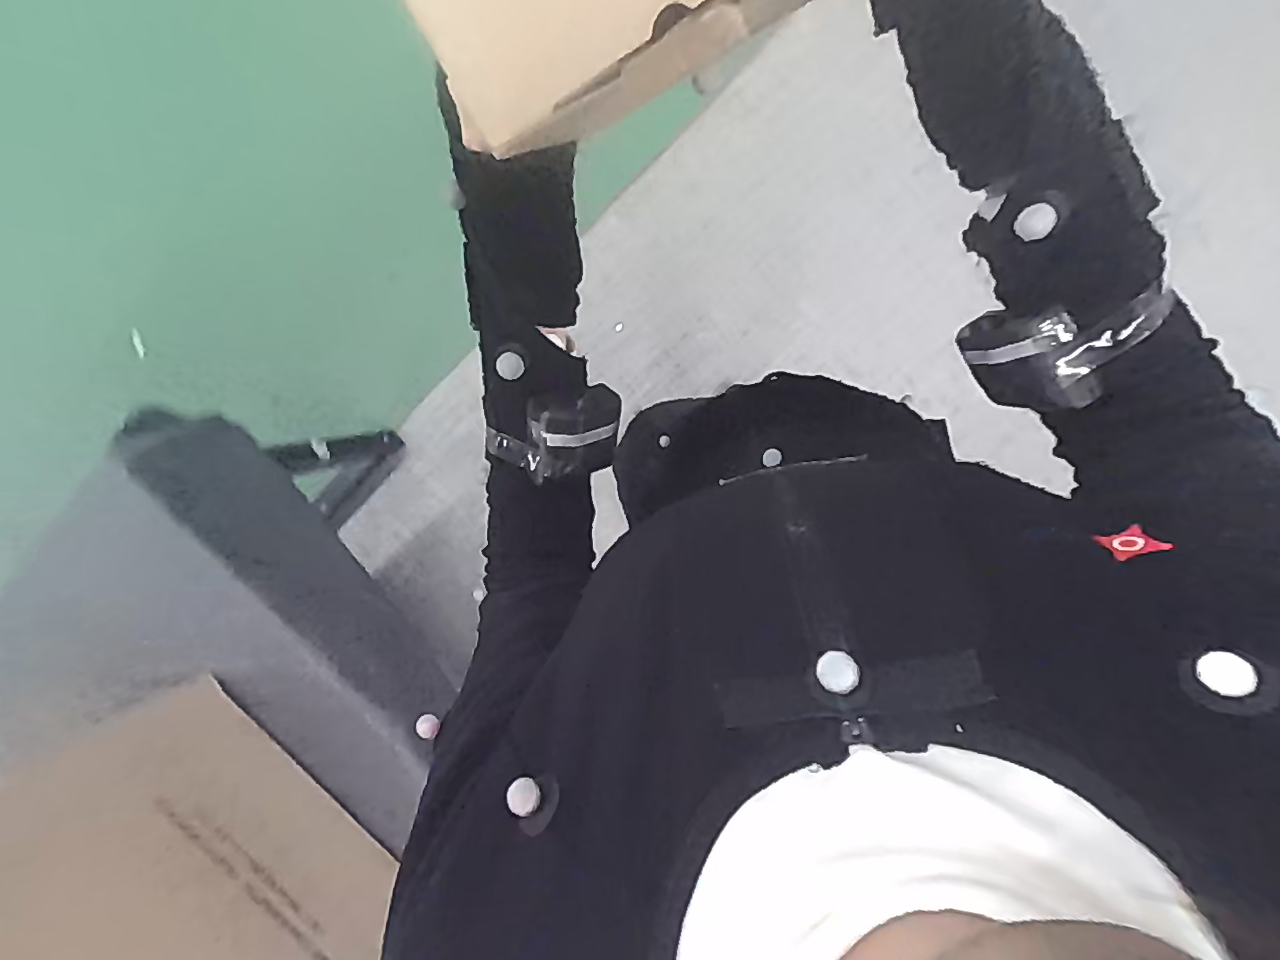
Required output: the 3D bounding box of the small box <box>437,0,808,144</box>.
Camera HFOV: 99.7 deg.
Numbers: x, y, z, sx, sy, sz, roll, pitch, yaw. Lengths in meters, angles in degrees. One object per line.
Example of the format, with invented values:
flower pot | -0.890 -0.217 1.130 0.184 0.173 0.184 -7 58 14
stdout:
small box | -0.003 -0.271 0.214 0.168 0.176 0.179 -17 121 22
